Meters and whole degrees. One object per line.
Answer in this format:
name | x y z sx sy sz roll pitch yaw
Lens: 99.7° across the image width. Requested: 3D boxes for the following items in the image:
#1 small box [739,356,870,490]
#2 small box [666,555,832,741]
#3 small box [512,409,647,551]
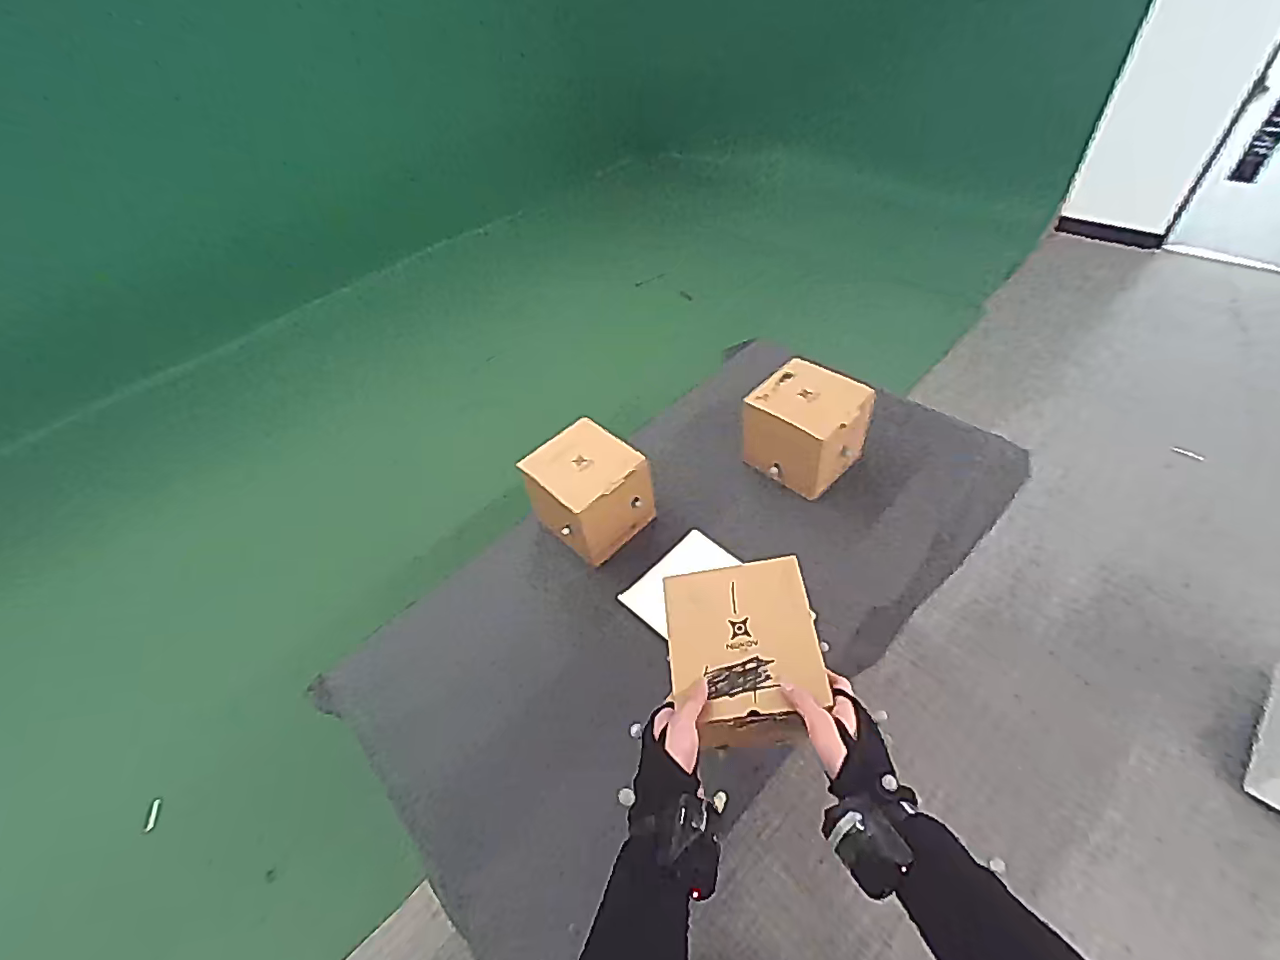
small box | 0.312 -0.105 1.057 0.168 0.176 0.179 -39 56 -24
small box | 0.133 0.217 0.672 0.168 0.176 0.179 -10 54 9
small box | -0.103 0.006 1.002 0.179 0.176 0.168 34 60 32
